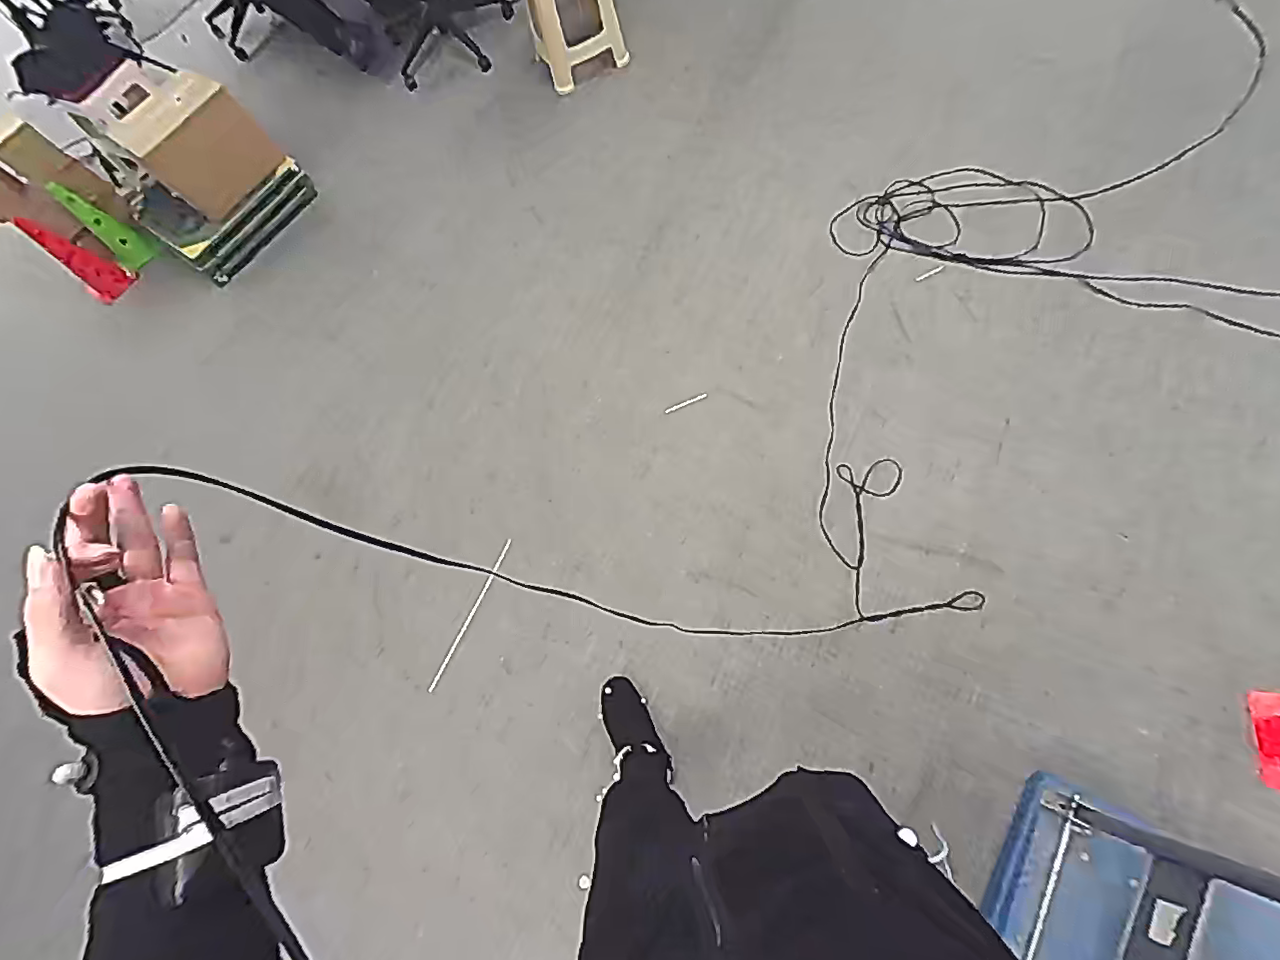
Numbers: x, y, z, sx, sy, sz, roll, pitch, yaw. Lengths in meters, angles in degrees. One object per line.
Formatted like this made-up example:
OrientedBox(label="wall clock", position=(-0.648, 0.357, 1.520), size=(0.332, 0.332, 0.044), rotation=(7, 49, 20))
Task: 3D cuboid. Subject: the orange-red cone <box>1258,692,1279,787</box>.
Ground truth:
OrientedBox(label="orange-red cone", position=(1.412, 0.506, 0.989), size=(0.198, 0.360, 0.199), rotation=(7, 69, 13))
